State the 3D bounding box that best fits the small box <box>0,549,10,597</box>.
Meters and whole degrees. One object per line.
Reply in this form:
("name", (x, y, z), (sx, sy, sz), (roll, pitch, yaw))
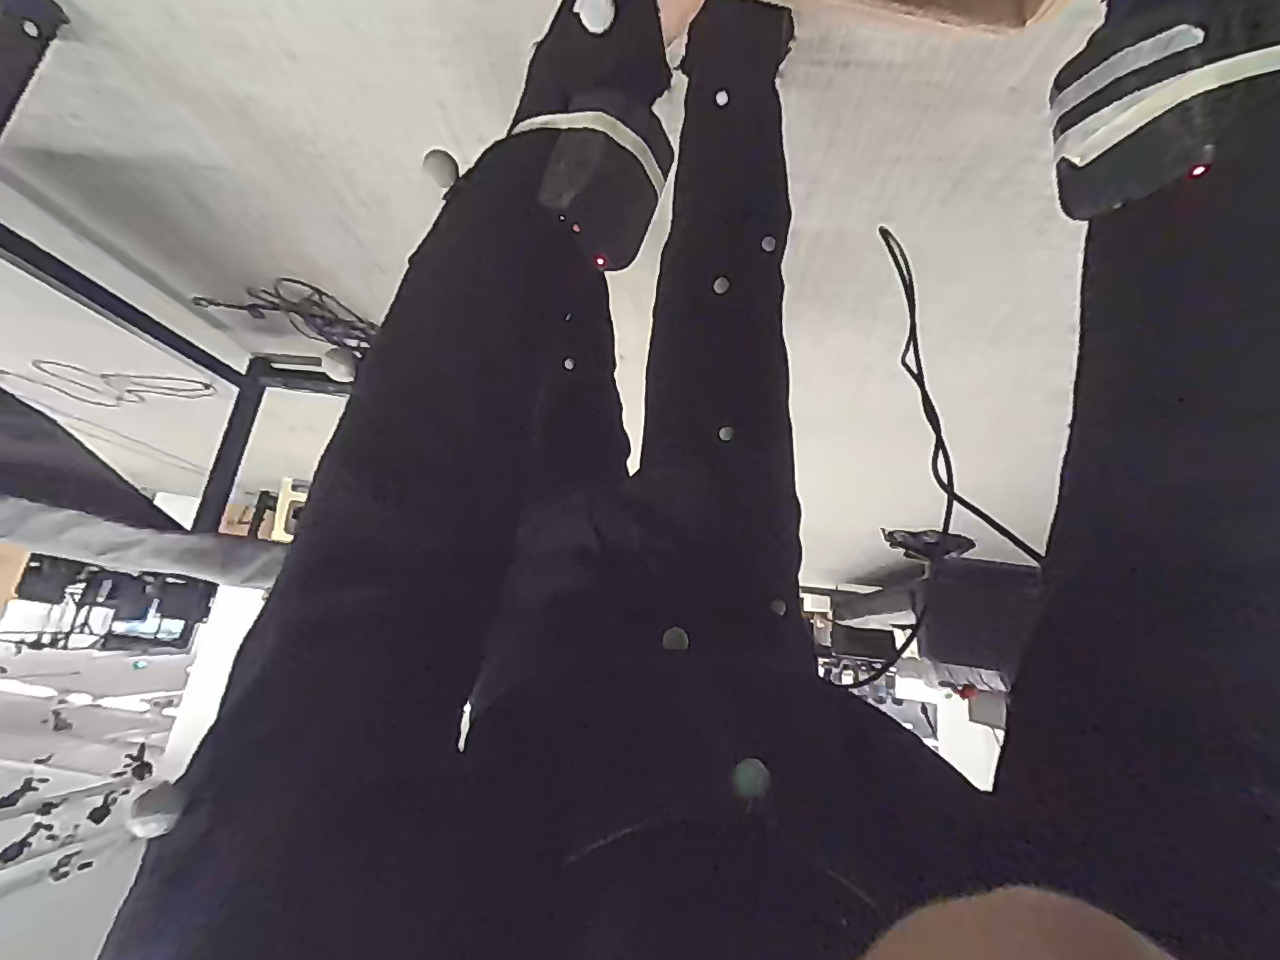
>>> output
("small box", (-1.062, 0.156, 0.756), (0.179, 0.176, 0.168), (12, 162, -13))
